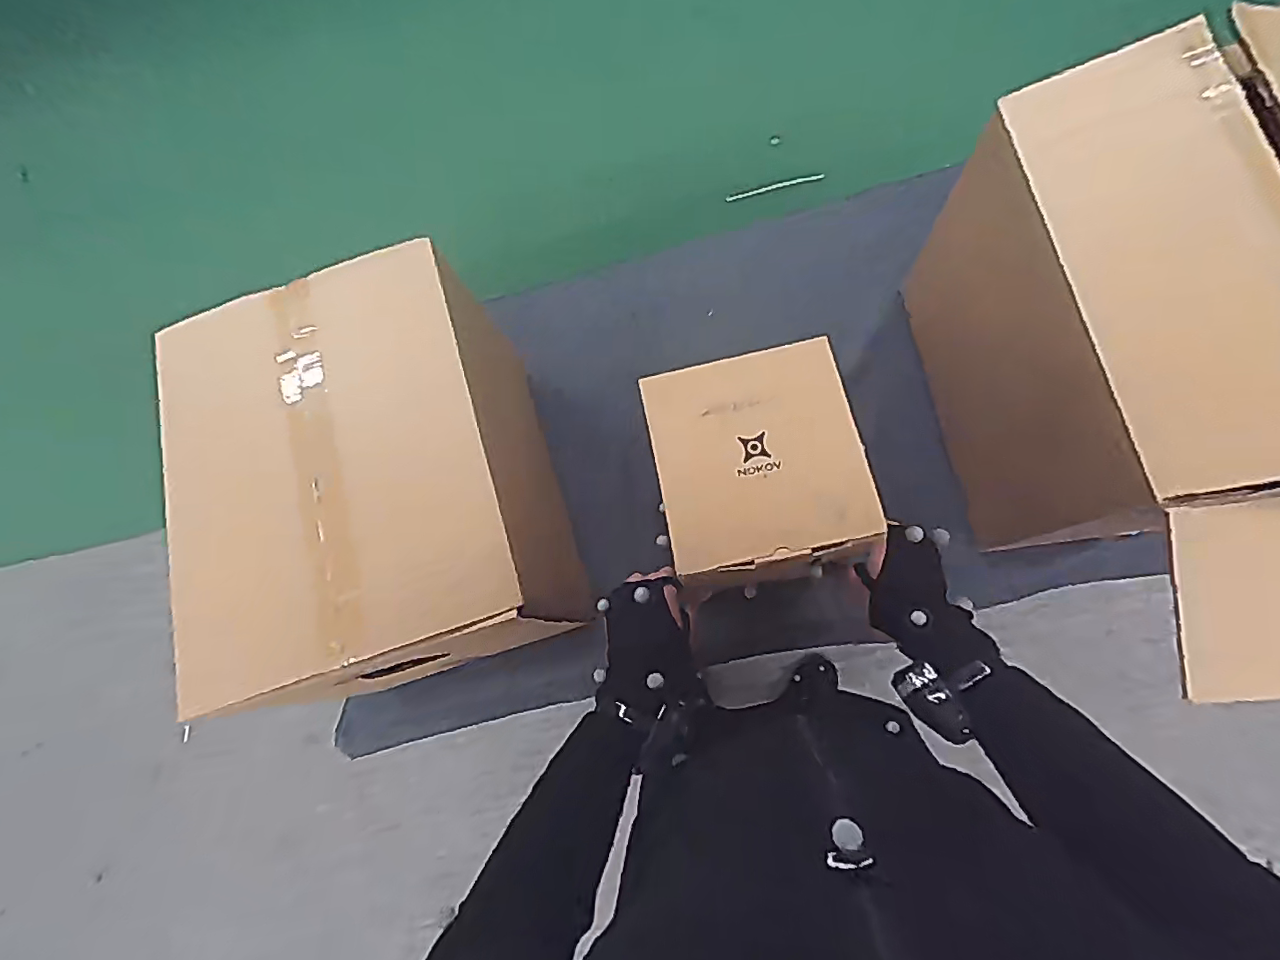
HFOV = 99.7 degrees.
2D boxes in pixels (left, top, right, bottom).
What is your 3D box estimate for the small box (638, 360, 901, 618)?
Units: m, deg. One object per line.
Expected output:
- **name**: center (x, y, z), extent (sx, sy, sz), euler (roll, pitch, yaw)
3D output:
- **small box**: center (0.103, 0.022, 0.489), extent (0.168, 0.176, 0.179), euler (-13, 73, 3)
